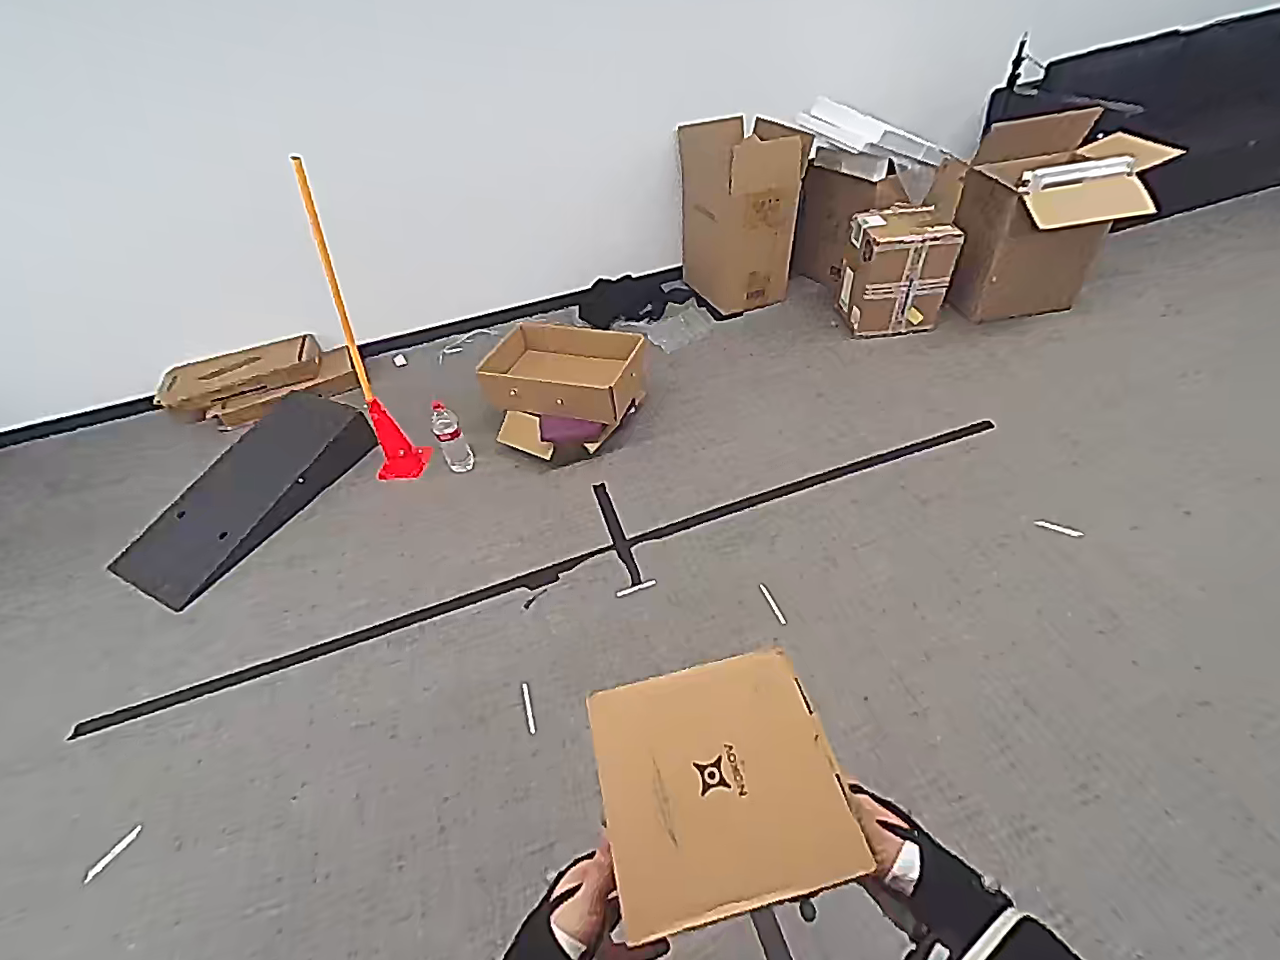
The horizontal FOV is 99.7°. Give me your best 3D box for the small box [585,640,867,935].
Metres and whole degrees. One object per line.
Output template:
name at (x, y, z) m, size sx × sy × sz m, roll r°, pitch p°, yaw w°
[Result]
small box at (0.061, 0.268, 0.470) m, size 0.179 × 0.176 × 0.168 m, roll -14°, pitch 49°, yaw -4°
